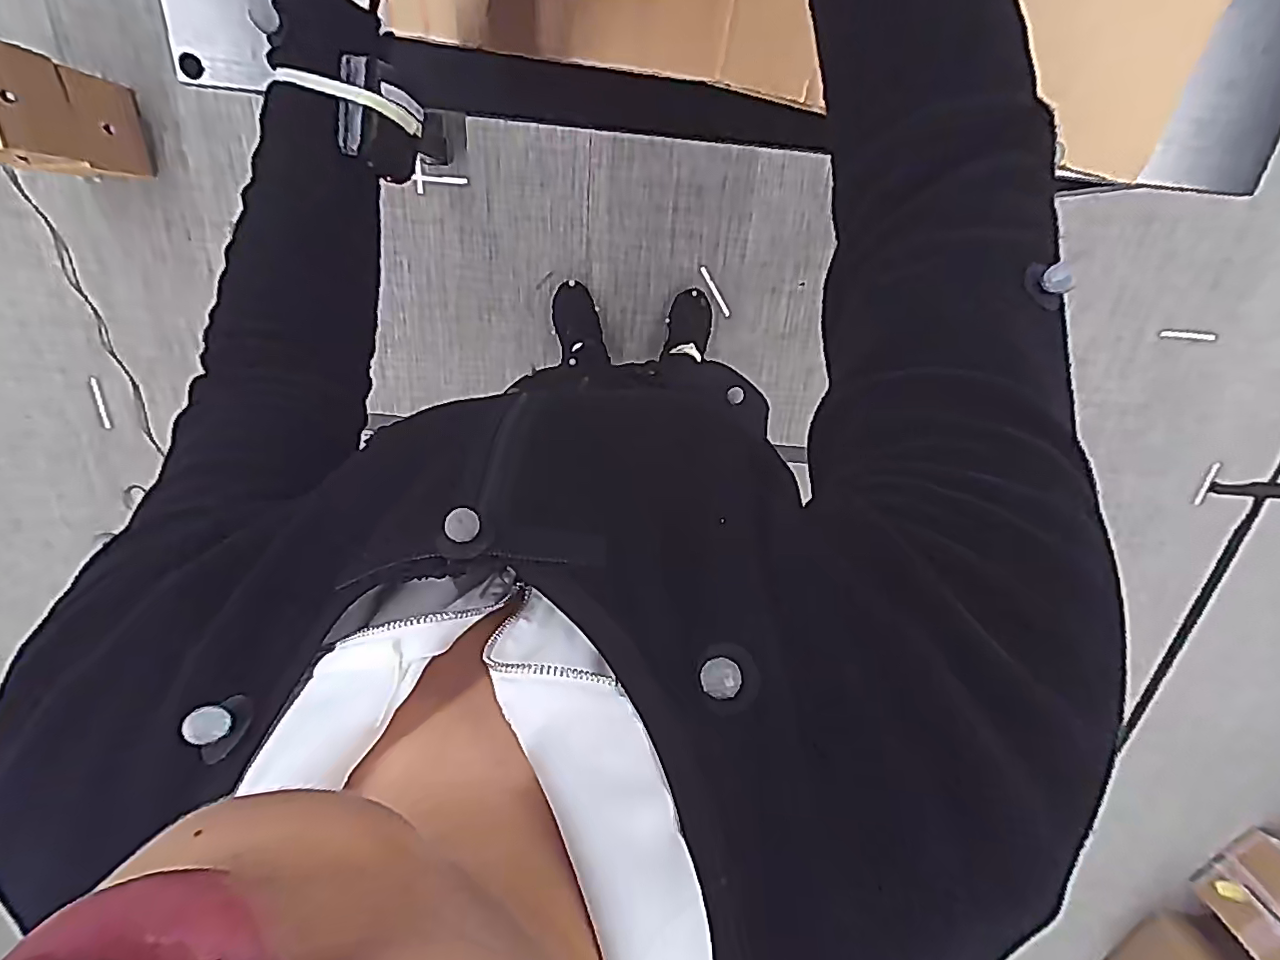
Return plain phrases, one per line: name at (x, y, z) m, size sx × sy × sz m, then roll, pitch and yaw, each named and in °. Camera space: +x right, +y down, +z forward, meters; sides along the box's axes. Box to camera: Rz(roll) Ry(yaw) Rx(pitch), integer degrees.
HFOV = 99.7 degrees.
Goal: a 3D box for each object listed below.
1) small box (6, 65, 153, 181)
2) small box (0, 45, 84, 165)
small box at (-1.168, -0.725, 1.109) m, size 0.168 × 0.176 × 0.179 m, roll 0°, pitch 114°, yaw -2°
small box at (-1.164, -0.666, 0.957) m, size 0.168 × 0.176 × 0.179 m, roll -3°, pitch 112°, yaw -2°
